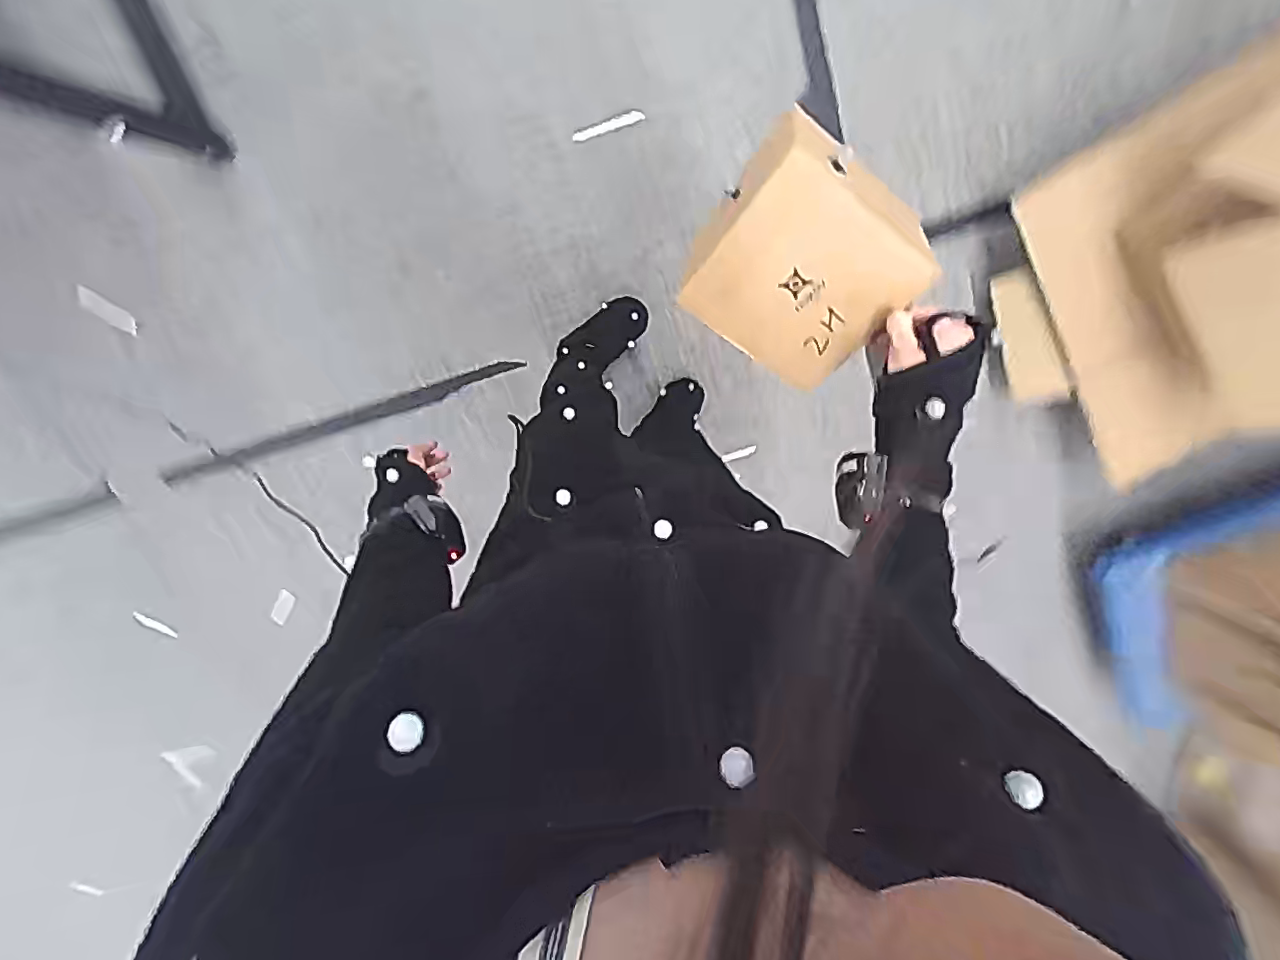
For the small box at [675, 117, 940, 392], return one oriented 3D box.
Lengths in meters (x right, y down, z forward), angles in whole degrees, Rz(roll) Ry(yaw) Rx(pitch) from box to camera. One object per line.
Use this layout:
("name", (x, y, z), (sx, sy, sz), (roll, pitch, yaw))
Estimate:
("small box", (0.159, -0.230, 0.549), (0.179, 0.176, 0.168), (30, 134, -16))
